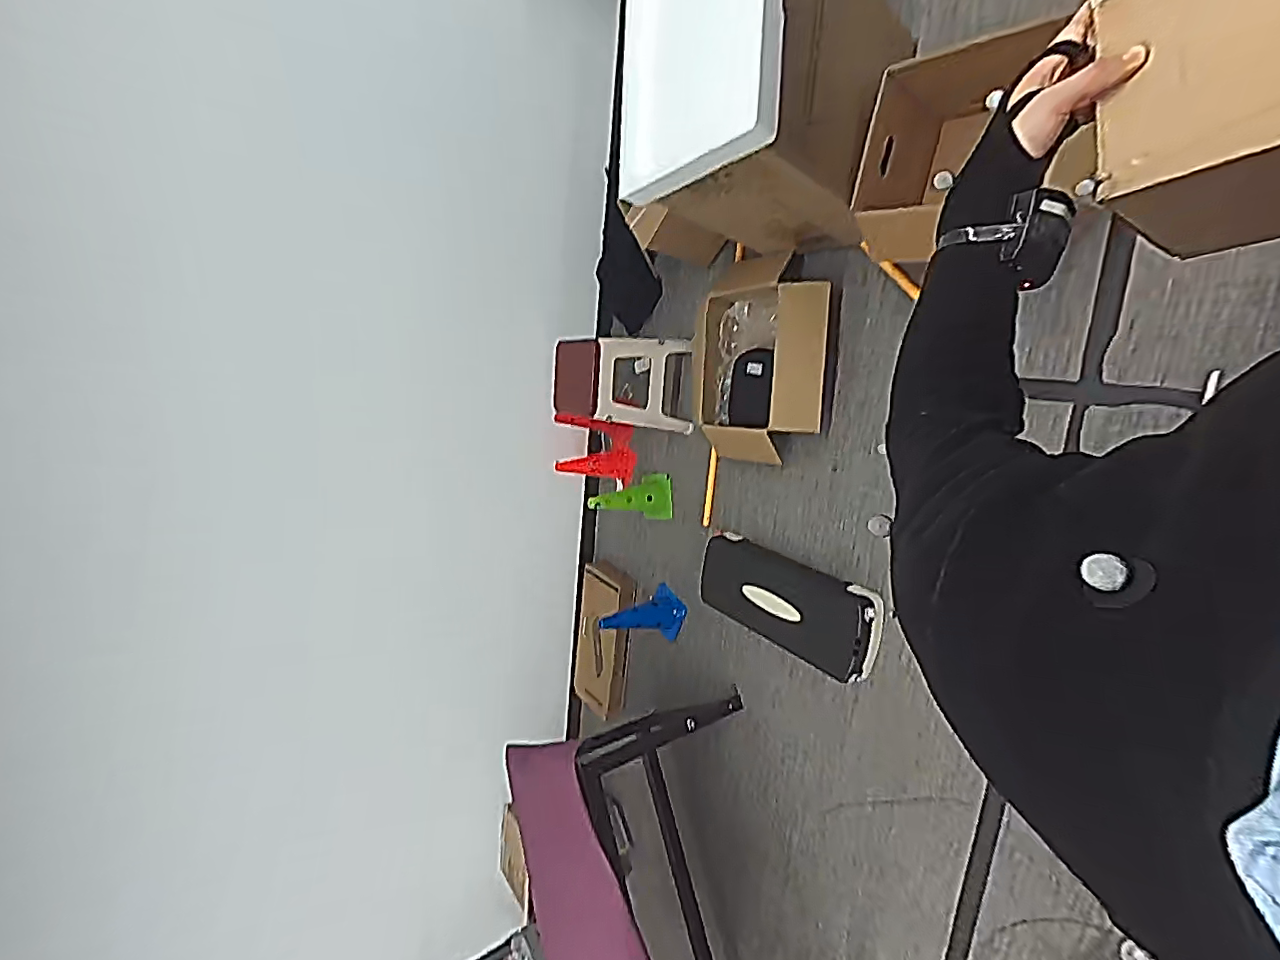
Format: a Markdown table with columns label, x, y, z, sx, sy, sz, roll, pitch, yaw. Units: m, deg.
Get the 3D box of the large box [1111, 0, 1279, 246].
| label | x | y | z | sx | sy | sz | roll | pitch | yaw |
| --- | --- | --- | --- | --- | --- | --- | --- | --- | --- |
| large box | 0.599 | -0.389 | 0.338 | 0.408 | 0.320 | 0.320 | 1 | 95 | 55 |
